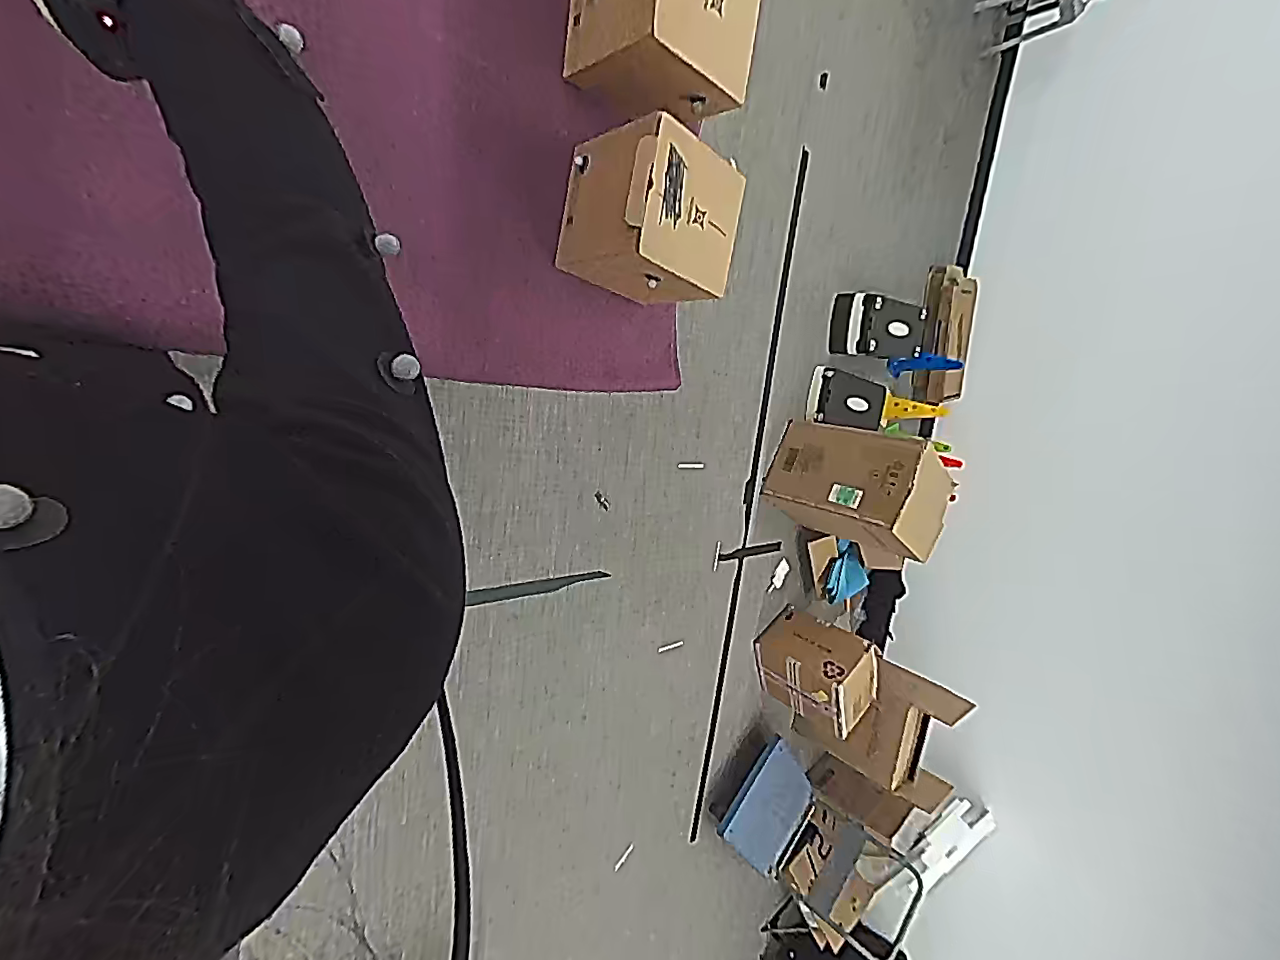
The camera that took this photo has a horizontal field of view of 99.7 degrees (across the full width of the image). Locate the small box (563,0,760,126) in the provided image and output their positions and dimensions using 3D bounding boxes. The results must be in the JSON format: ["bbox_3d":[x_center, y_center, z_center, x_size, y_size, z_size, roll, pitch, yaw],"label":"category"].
[{"bbox_3d":[0.028,-0.580,0.690,0.179,0.176,0.168,-2,104,-44],"label":"small box"}]

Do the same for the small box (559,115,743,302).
[{"bbox_3d":[0.011,-0.350,0.744,0.179,0.176,0.168,6,97,-45],"label":"small box"}]
